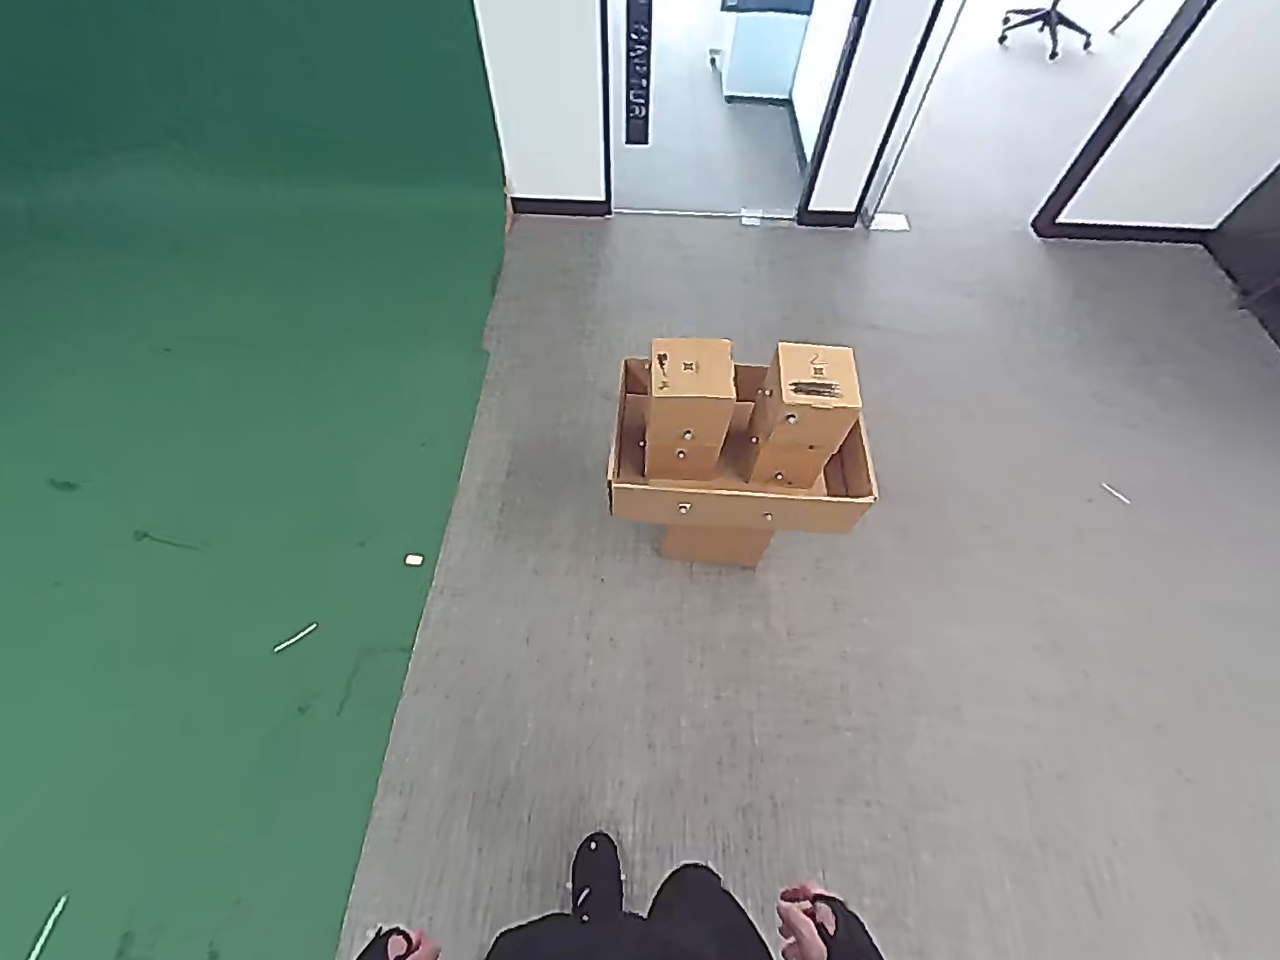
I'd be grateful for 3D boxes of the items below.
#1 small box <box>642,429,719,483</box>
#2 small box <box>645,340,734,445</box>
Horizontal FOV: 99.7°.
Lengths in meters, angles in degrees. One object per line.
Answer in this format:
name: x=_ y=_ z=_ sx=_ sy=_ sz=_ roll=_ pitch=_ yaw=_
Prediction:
small box: x=0.097 y=-0.105 z=1.354 sx=0.179 sy=0.176 sz=0.168 roll=4 pitch=58 yaw=-2
small box: x=0.104 y=-0.191 z=1.214 sx=0.179 sy=0.176 sz=0.168 roll=2 pitch=58 yaw=-2
